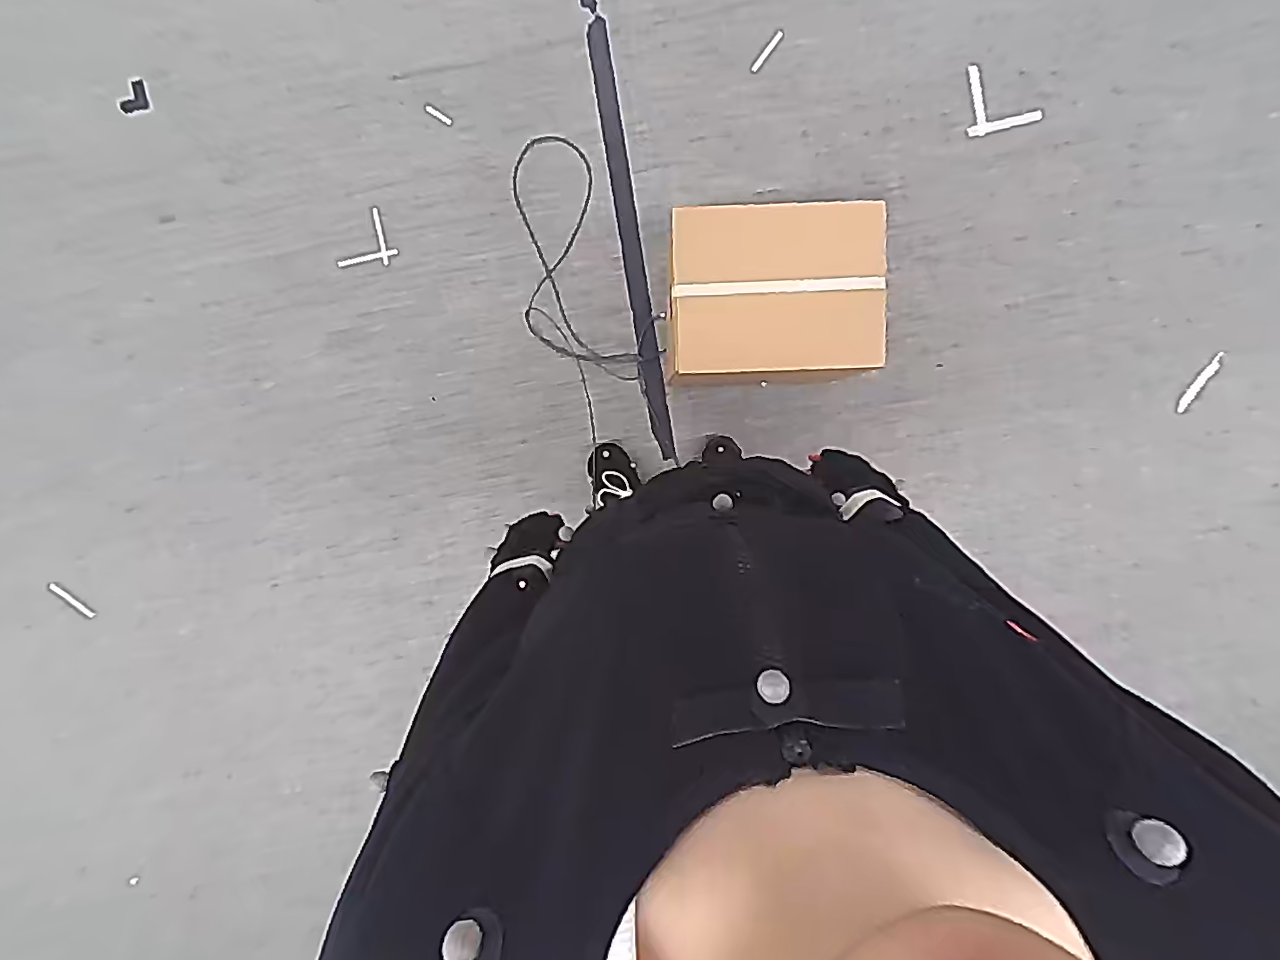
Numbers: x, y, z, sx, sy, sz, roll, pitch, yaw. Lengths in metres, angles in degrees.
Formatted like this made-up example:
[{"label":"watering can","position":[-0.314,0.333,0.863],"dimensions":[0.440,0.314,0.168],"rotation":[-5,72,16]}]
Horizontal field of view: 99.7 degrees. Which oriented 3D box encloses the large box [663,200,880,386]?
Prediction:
[{"label":"large box","position":[0.262,-0.384,1.190],"dimensions":[0.408,0.320,0.320],"rotation":[-2,95,0]}]
